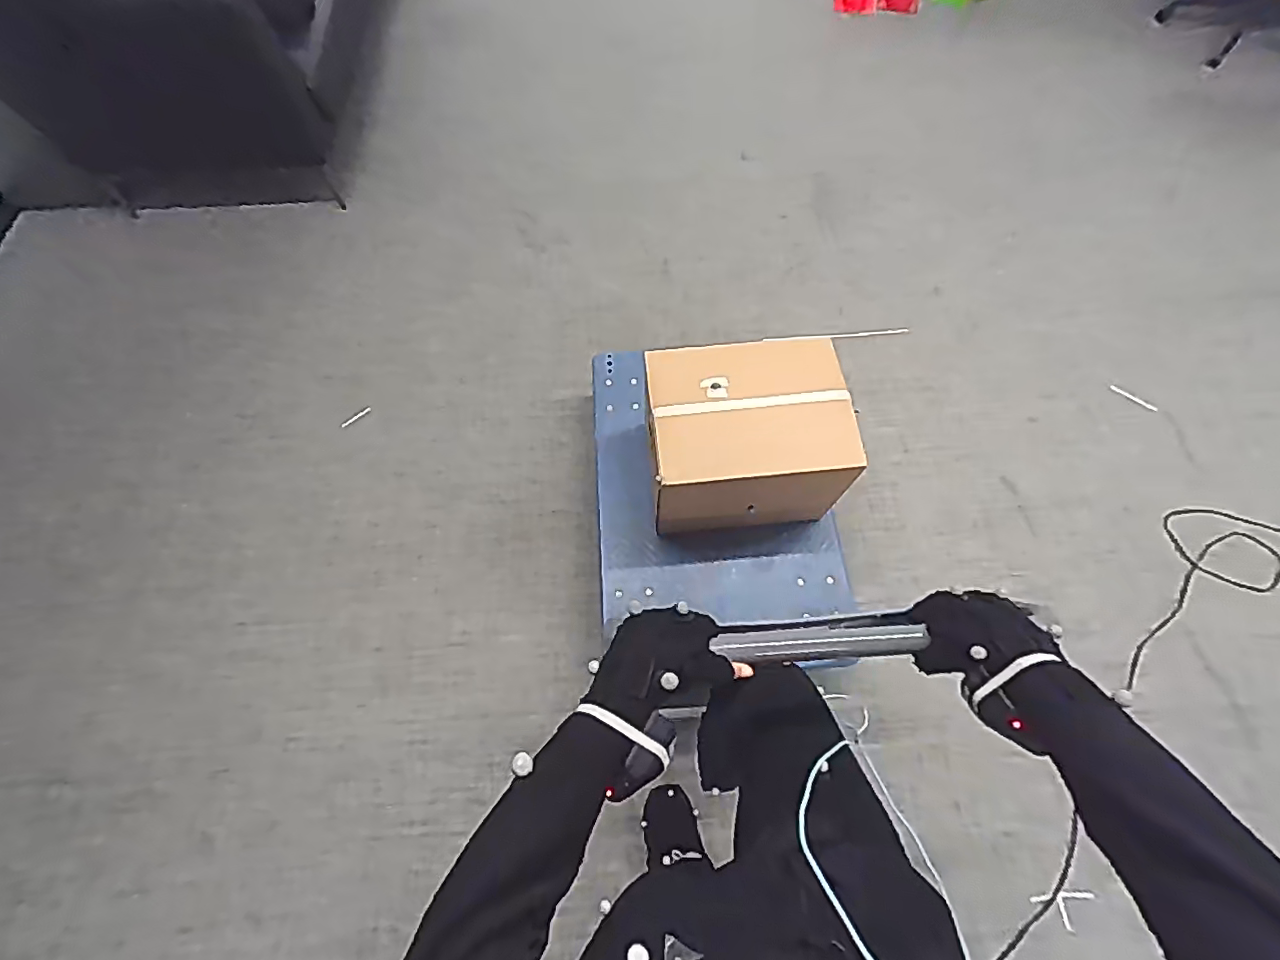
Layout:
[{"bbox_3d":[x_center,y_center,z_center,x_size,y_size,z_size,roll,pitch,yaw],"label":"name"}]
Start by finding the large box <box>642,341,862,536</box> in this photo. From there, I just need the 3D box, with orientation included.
[{"bbox_3d":[0.227,-0.081,1.247,0.408,0.320,0.320,-7,66,-1],"label":"large box"}]
